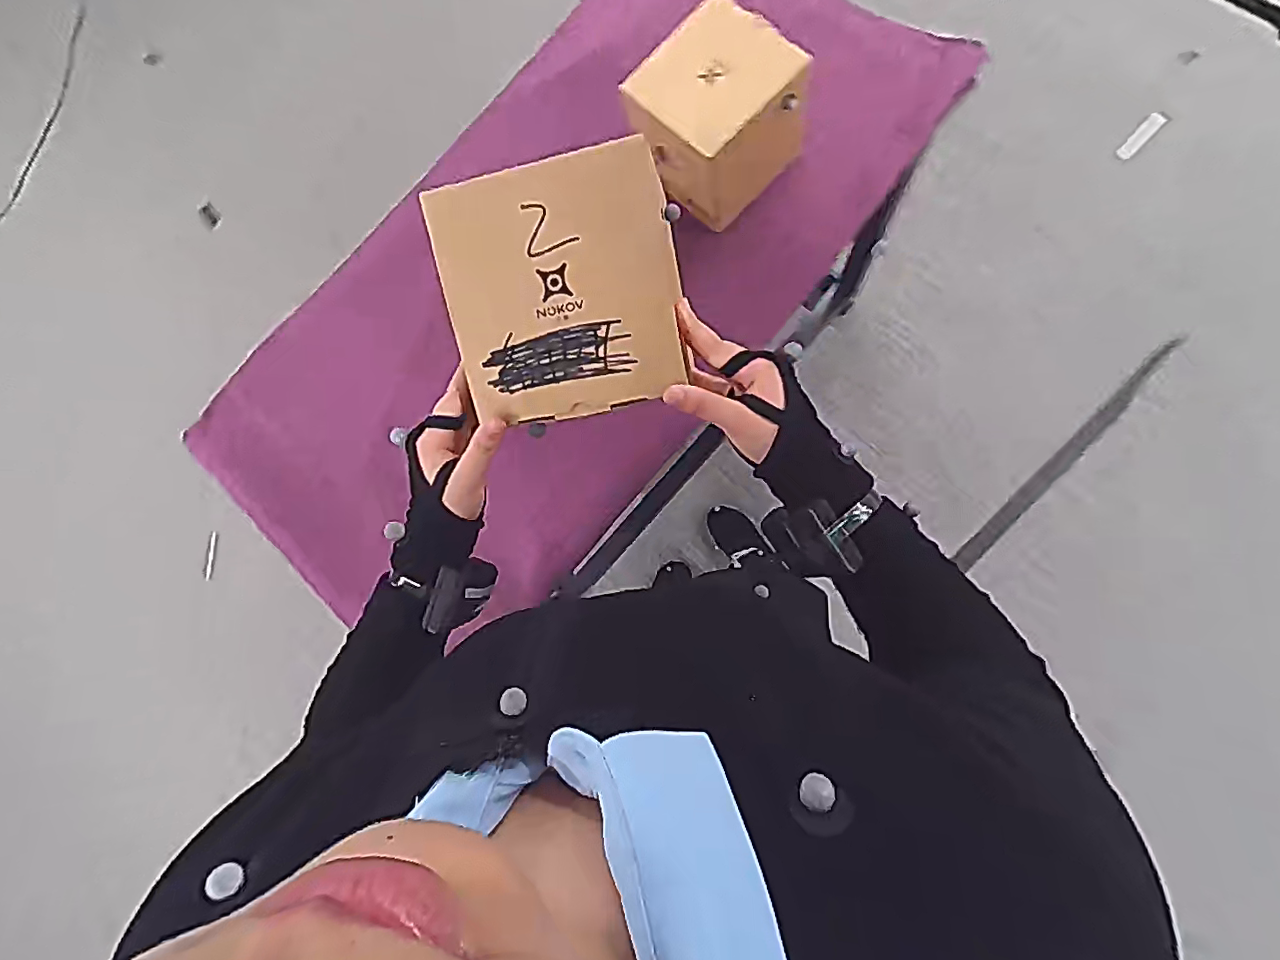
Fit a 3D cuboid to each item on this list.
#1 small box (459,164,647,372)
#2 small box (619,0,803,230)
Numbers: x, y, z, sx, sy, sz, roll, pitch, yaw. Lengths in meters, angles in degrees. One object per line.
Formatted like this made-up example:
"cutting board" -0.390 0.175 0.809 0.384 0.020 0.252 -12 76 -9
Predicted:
"small box" -0.109 -0.281 0.760 0.179 0.176 0.168 -41 79 2
"small box" 0.101 -0.495 0.754 0.179 0.176 0.168 -45 77 1
